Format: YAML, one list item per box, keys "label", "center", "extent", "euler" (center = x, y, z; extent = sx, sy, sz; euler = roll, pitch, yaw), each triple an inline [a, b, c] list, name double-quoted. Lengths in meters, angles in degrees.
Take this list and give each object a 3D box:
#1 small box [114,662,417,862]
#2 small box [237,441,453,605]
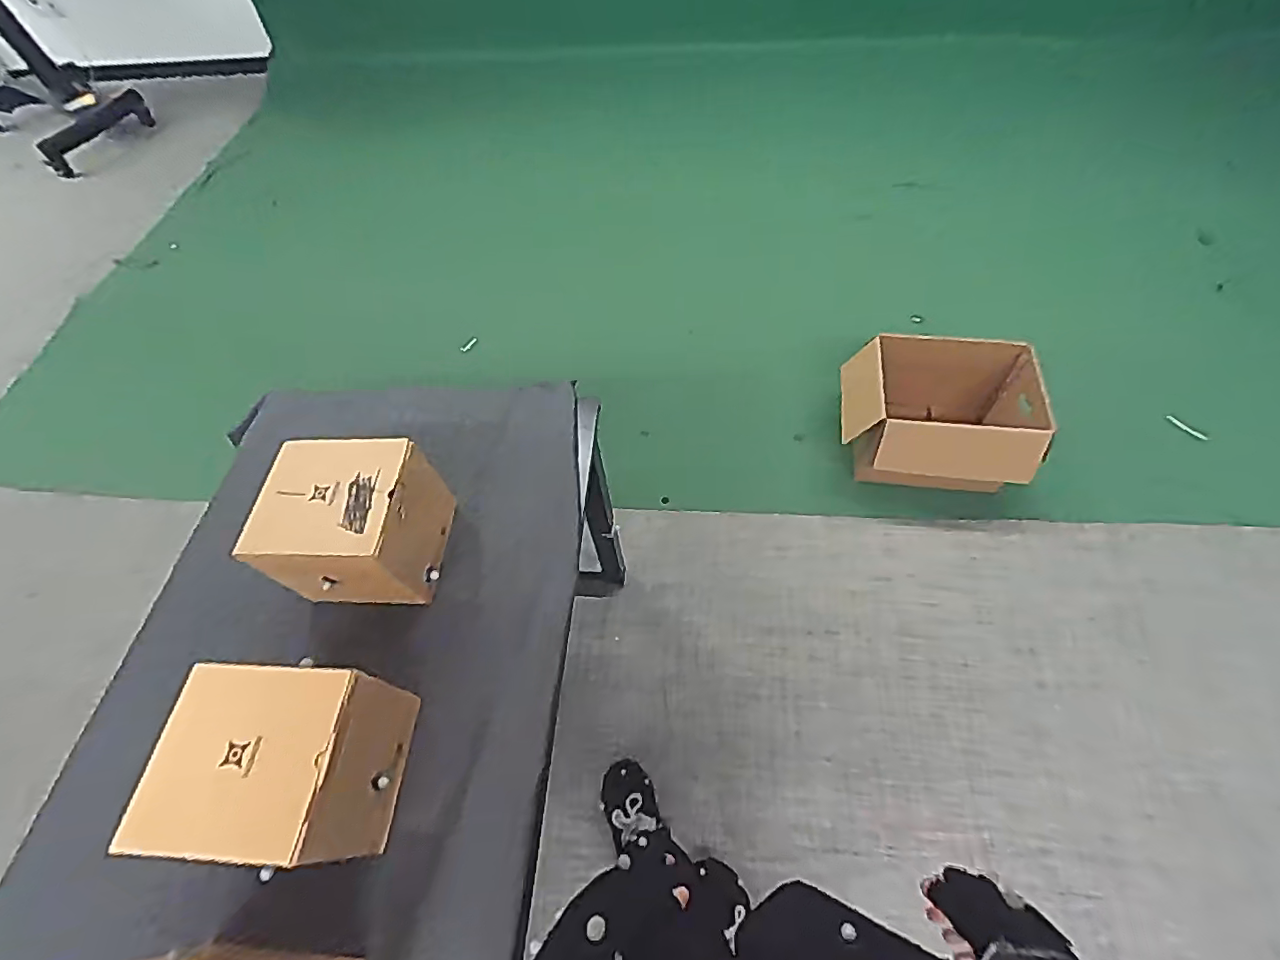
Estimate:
- label: "small box"
  center: [-0.374, 0.304, 0.583]
  extent: [0.179, 0.176, 0.168]
  euler: [1, 58, 4]
- label: "small box"
  center: [-0.376, 0.063, 0.731]
  extent: [0.179, 0.176, 0.168]
  euler: [0, 58, 5]
